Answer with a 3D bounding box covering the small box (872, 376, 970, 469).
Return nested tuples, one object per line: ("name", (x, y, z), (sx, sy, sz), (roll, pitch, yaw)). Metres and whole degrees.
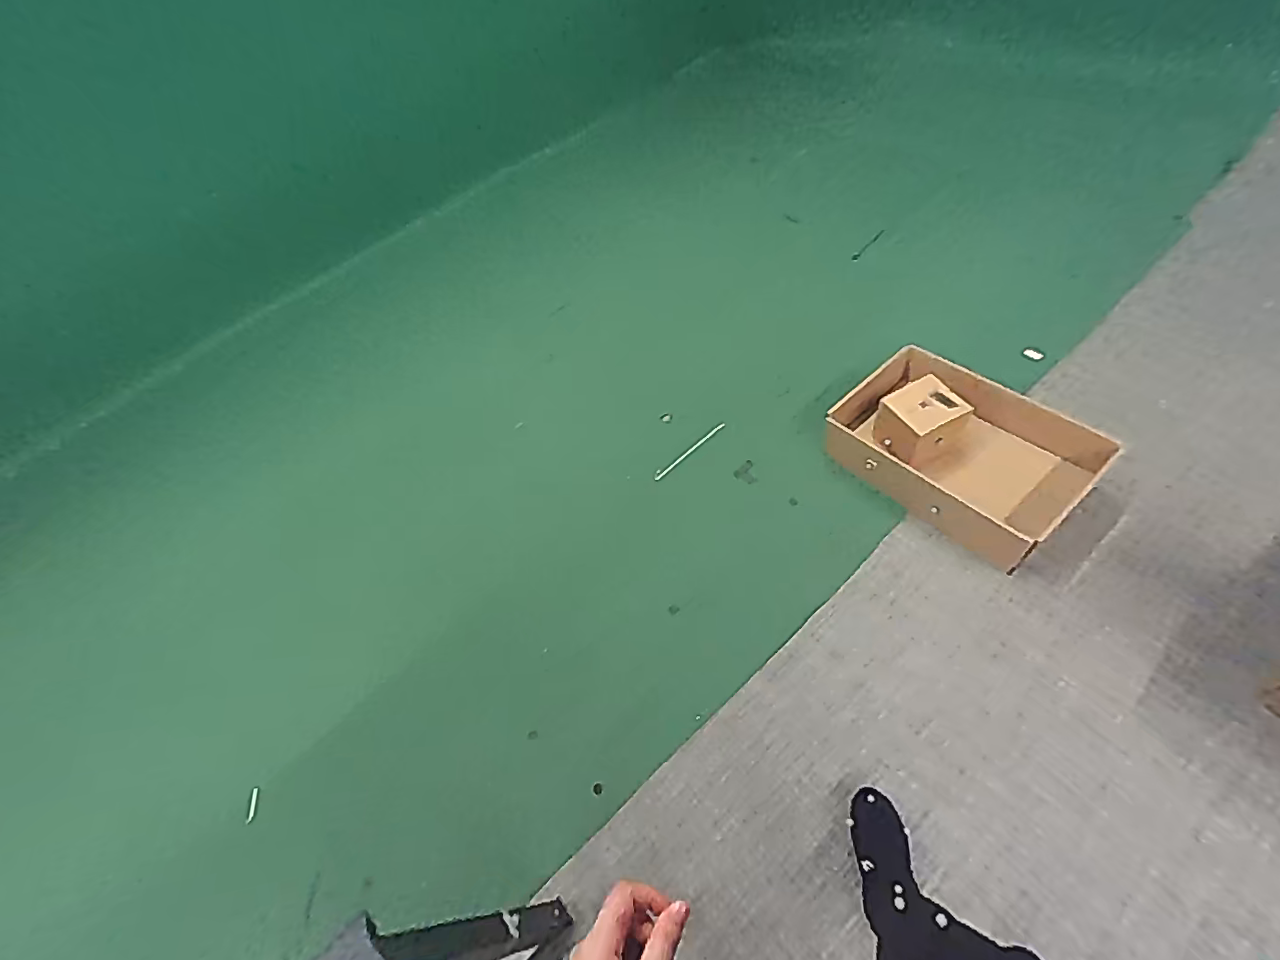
("small box", (0.808, -0.165, 1.578), (0.179, 0.176, 0.168), (-26, 54, -6))
